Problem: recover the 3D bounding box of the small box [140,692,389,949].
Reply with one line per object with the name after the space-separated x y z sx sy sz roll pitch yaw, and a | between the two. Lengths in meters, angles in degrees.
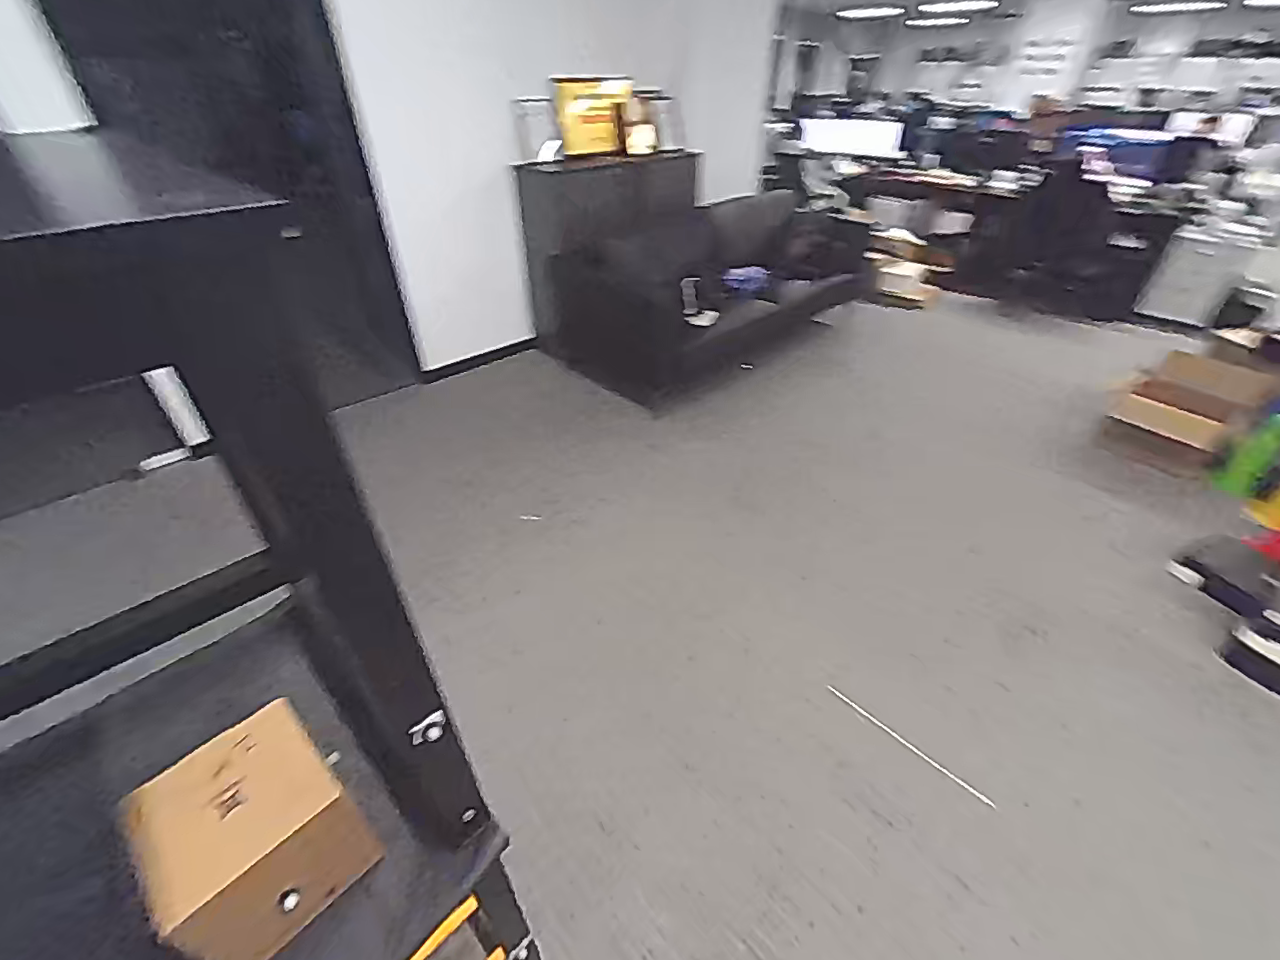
-0.429 0.401 0.639 0.179 0.176 0.168 29 45 33 | small box
